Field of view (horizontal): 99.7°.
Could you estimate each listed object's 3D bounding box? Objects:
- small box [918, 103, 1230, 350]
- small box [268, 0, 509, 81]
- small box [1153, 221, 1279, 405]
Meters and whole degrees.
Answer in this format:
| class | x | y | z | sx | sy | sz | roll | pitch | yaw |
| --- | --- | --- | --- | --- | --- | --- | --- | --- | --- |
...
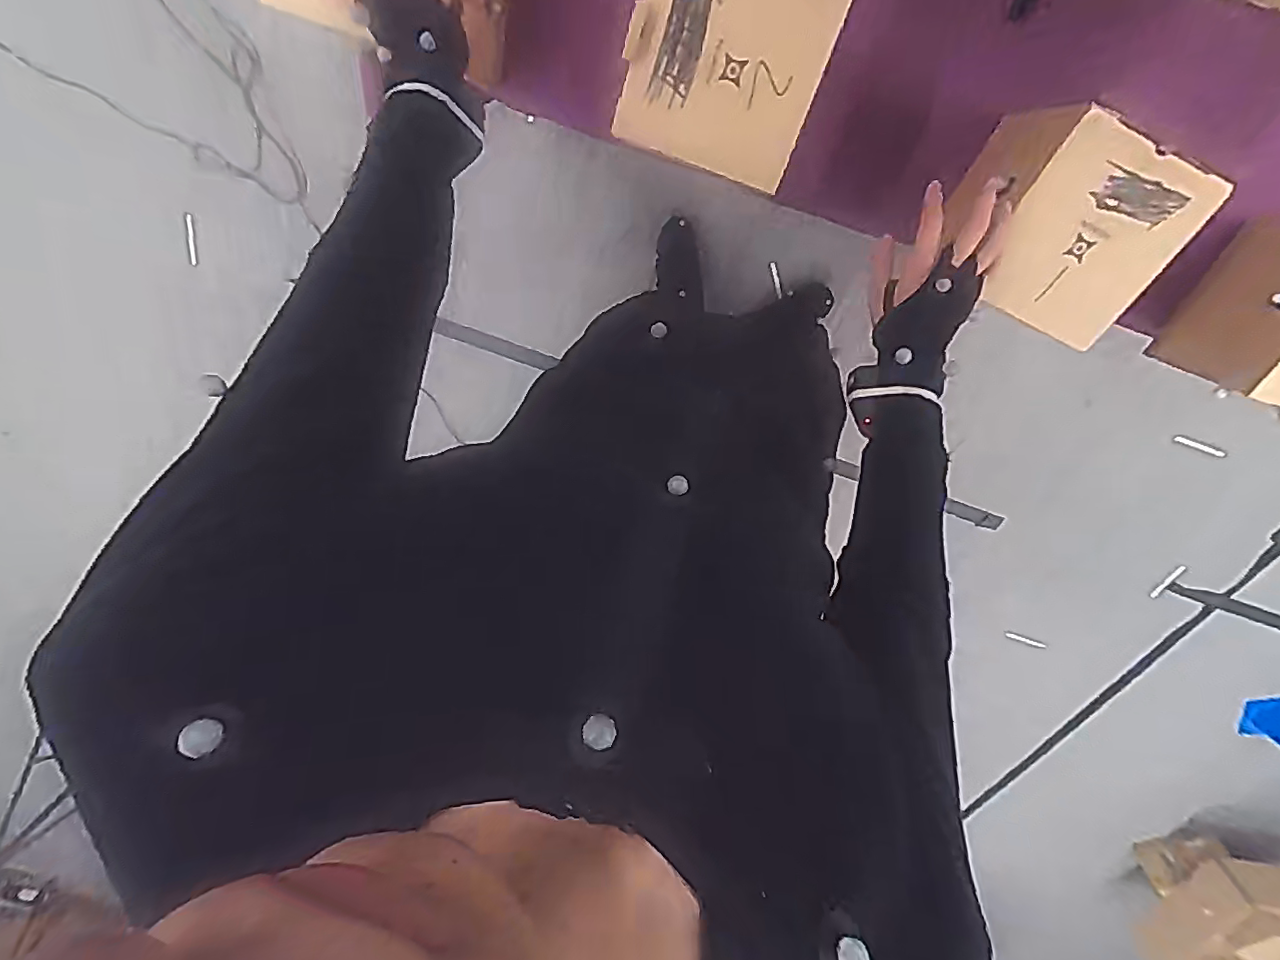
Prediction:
| class | x | y | z | sx | sy | sz | roll | pitch | yaw |
| --- | --- | --- | --- | --- | --- | --- | --- | --- | --- |
| small box | 0.448 | -0.277 | 0.599 | 0.168 | 0.176 | 0.179 | 24 | 121 | -7 |
| small box | -0.239 | -0.526 | 0.539 | 0.179 | 0.176 | 0.168 | 16 | 120 | -4 |
| small box | 0.765 | -0.179 | 0.615 | 0.168 | 0.176 | 0.179 | 18 | 120 | -2 |
